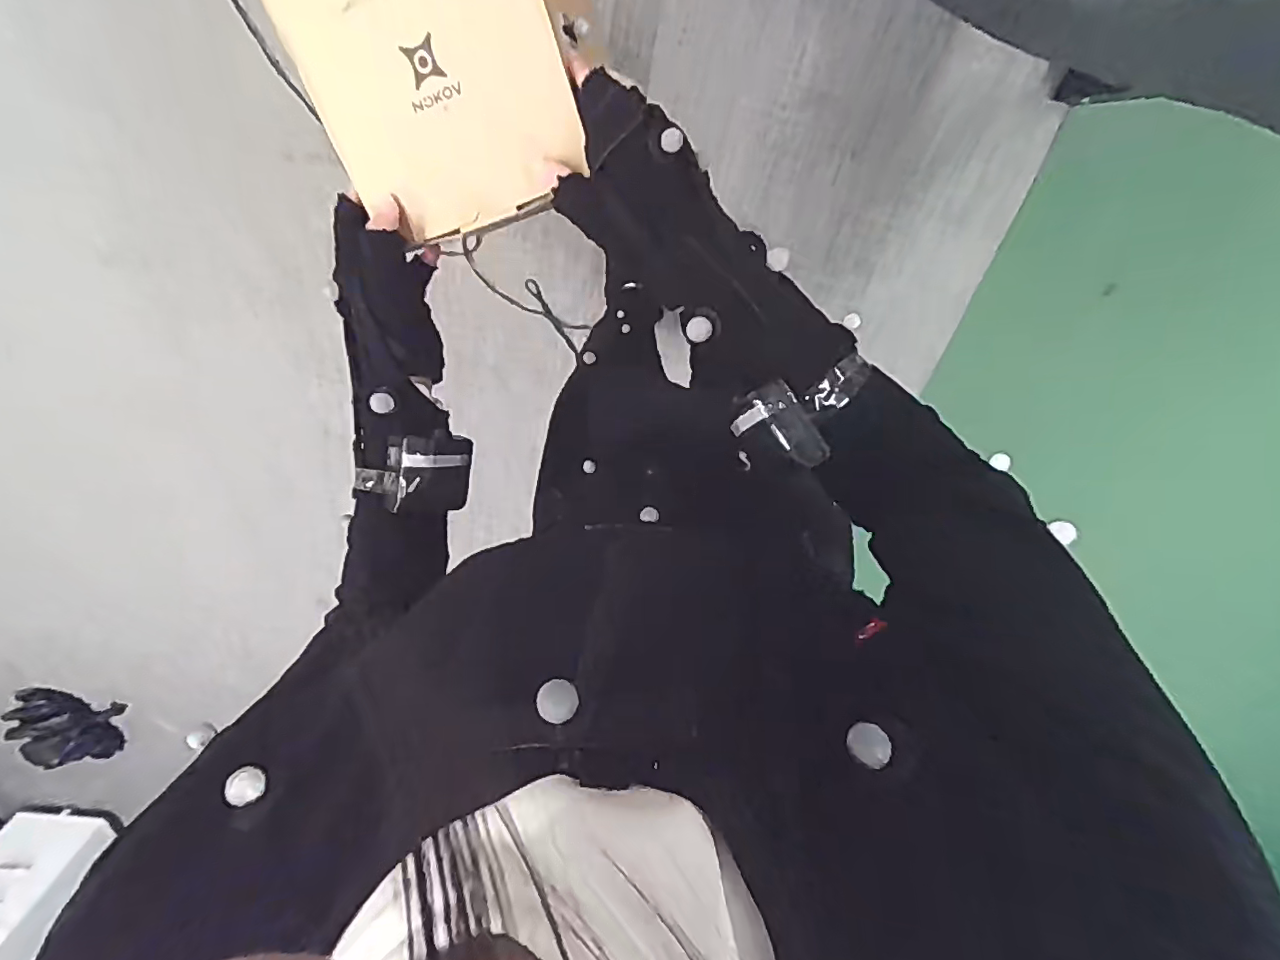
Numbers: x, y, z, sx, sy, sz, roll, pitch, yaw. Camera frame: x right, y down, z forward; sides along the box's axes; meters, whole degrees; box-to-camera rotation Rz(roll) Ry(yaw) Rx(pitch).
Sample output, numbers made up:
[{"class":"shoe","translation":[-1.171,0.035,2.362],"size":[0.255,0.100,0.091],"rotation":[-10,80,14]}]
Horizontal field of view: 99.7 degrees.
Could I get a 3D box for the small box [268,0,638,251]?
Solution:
[{"class":"small box","translation":[-0.112,-0.288,0.389],"size":[0.168,0.176,0.179],"rotation":[-11,116,17]}]
